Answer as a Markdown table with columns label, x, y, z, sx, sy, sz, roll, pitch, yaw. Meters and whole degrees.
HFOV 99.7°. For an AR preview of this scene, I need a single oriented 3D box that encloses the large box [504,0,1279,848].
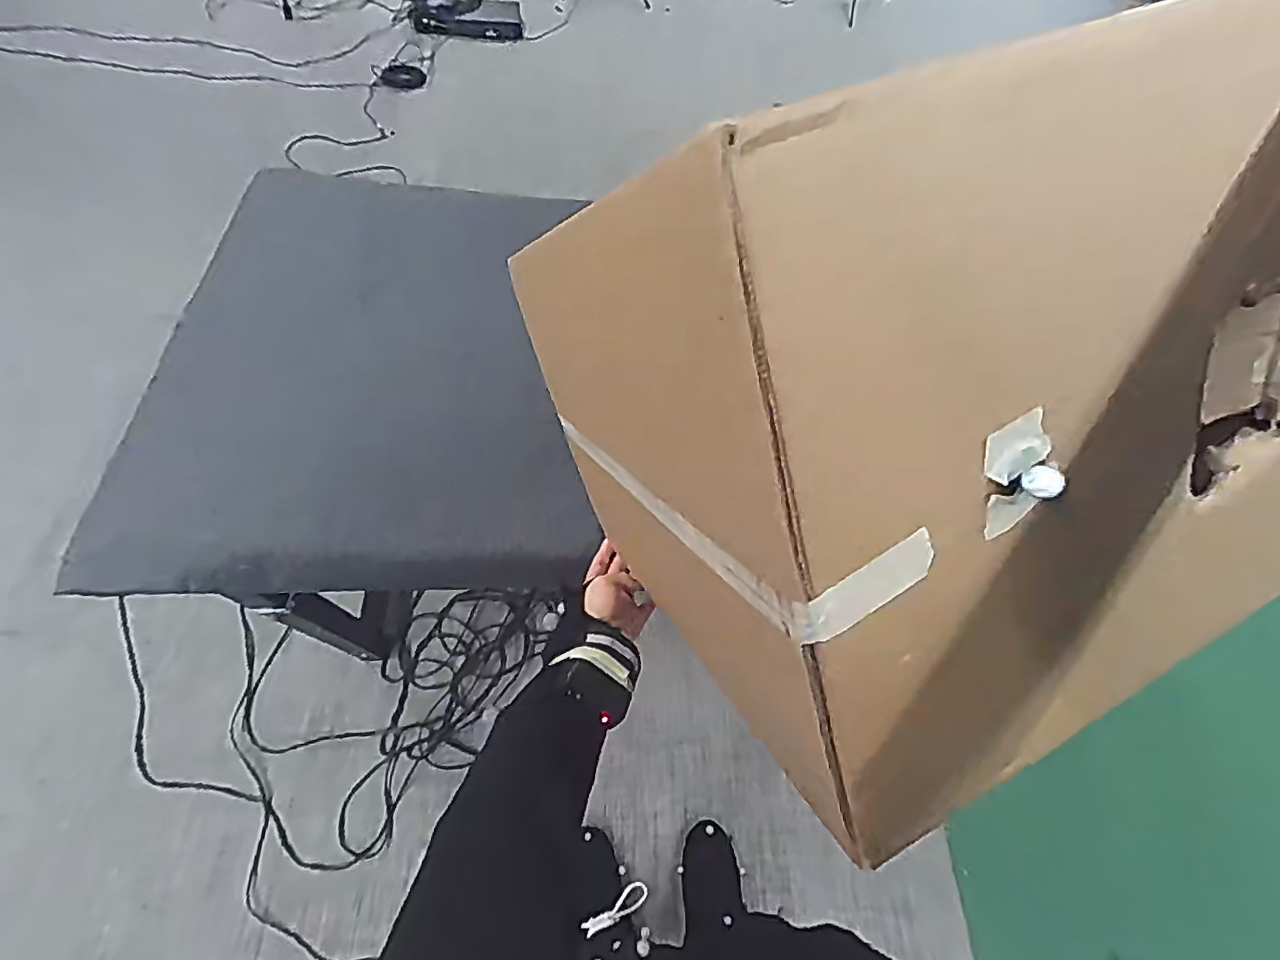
| label | x | y | z | sx | sy | sz | roll | pitch | yaw |
| --- | --- | --- | --- | --- | --- | --- | --- | --- | --- |
| large box | 0.124 | -0.060 | 0.408 | 0.320 | 0.320 | 0.408 | -24 | 24 | -15 |
